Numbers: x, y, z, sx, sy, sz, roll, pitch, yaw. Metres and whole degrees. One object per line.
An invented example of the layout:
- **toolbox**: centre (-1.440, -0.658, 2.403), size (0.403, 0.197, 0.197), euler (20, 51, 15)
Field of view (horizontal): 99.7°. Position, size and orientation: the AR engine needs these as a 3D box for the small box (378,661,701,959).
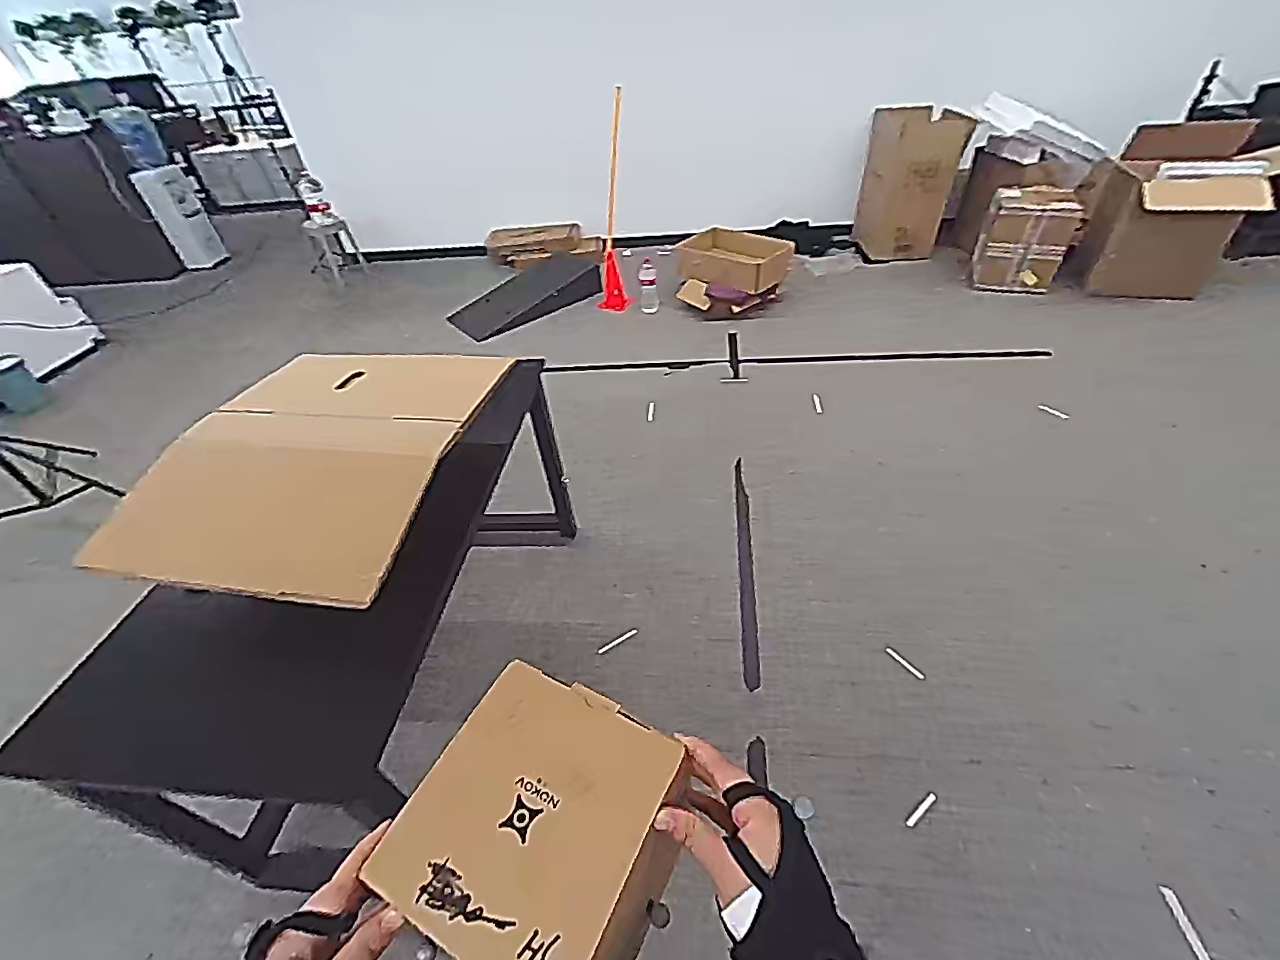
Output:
- **small box**: centre (-0.060, 0.289, 0.435), size (0.168, 0.176, 0.179), euler (16, 47, 26)
